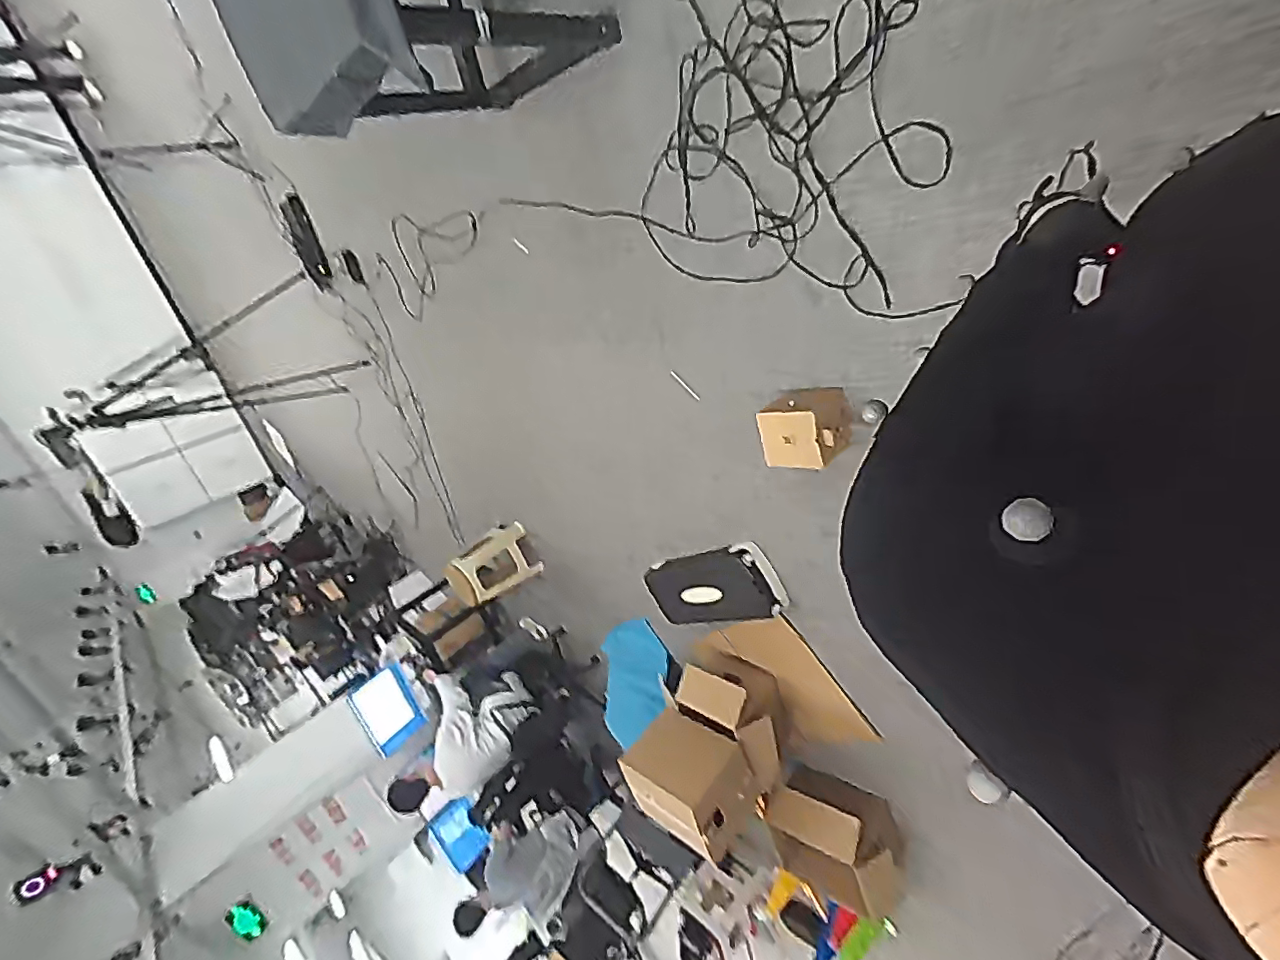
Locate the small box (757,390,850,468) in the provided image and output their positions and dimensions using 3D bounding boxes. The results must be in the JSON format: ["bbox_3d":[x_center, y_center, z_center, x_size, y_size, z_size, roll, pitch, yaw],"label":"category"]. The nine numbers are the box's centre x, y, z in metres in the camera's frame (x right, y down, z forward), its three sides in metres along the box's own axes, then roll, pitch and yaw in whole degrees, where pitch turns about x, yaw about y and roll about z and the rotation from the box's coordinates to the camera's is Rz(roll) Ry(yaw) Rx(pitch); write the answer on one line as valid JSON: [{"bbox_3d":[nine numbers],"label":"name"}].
[{"bbox_3d":[0.455,-0.144,1.498,0.179,0.176,0.168,5,120,45],"label":"small box"}]
